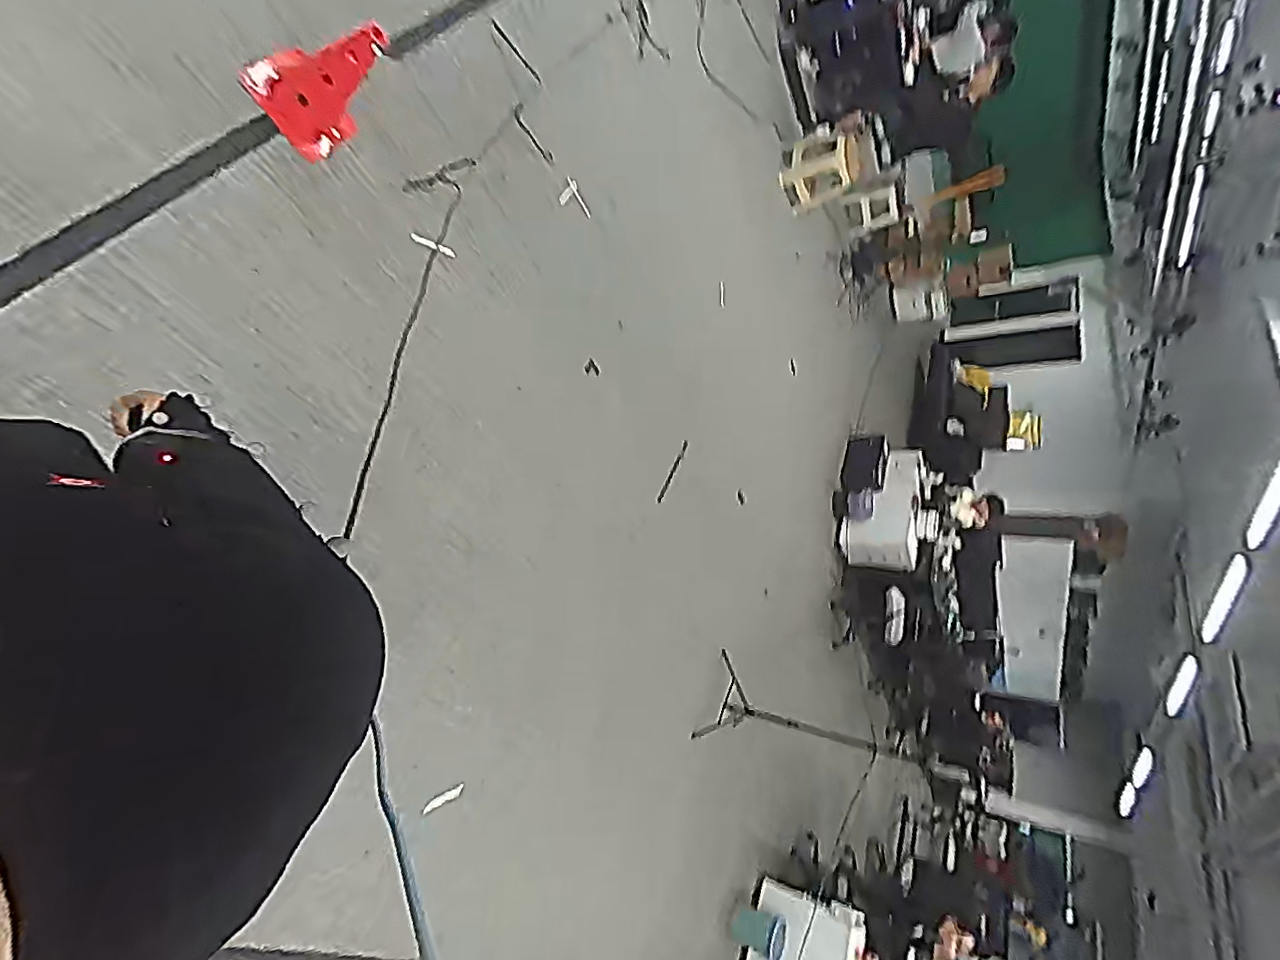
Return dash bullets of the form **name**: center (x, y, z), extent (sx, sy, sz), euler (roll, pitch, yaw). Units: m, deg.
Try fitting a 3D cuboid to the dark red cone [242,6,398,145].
- **dark red cone**: center (-0.666, -0.931, 1.194), extent (0.201, 0.394, 0.202), euler (54, 49, -41)
